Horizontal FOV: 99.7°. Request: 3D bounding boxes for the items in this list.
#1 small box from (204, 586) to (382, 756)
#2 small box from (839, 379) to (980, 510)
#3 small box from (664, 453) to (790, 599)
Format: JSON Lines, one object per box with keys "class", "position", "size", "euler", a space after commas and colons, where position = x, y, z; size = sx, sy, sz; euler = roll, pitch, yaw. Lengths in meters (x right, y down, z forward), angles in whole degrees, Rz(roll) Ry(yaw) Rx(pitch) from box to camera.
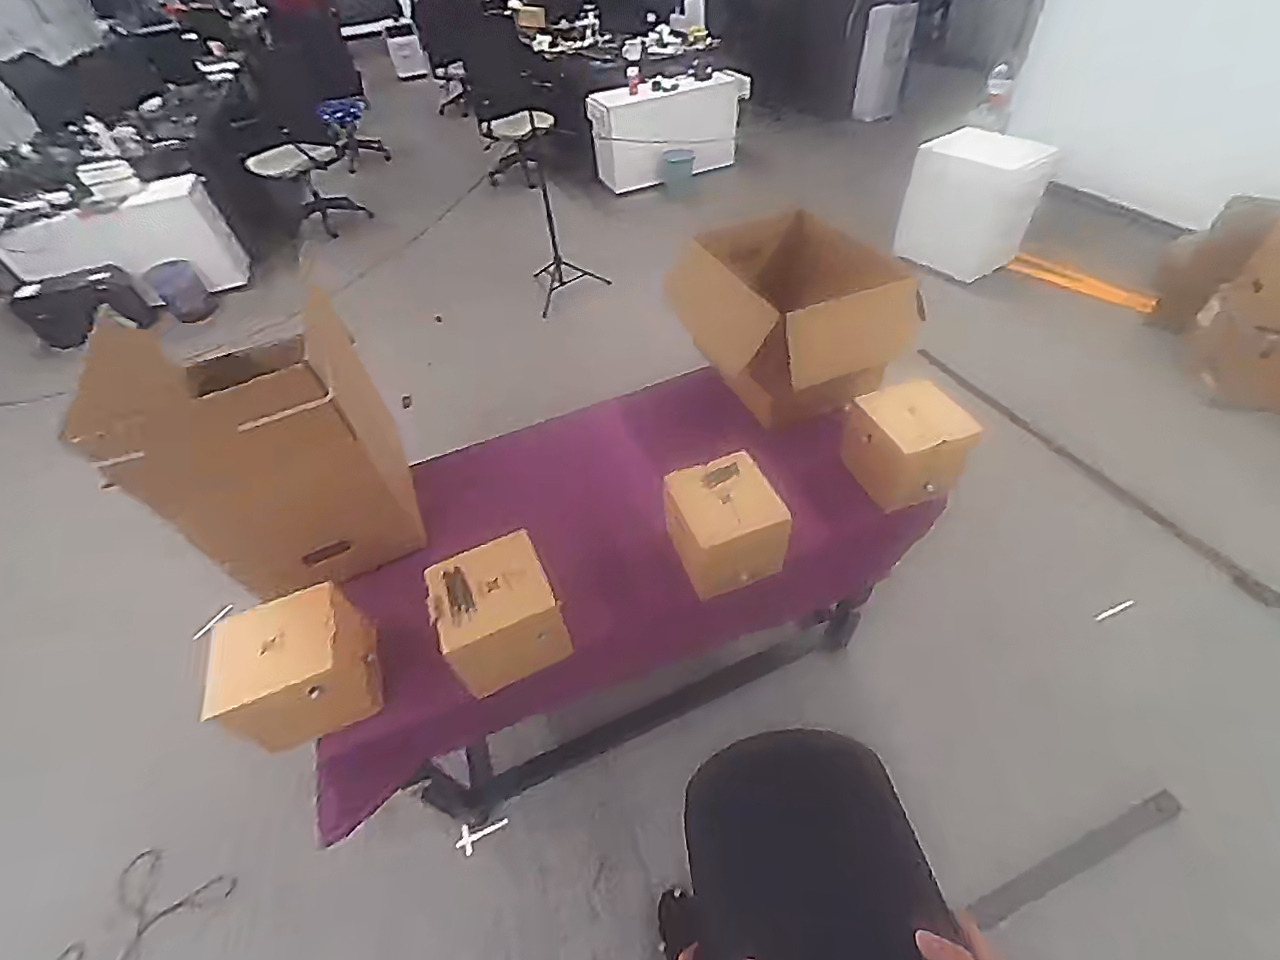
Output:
{"class": "small box", "position": [-0.540, 0.308, 0.863], "size": [0.179, 0.176, 0.168], "euler": [-21, 49, -14]}
{"class": "small box", "position": [0.525, -0.070, 1.084], "size": [0.168, 0.176, 0.179], "euler": [-17, 48, -7]}
{"class": "small box", "position": [0.151, 0.084, 0.989], "size": [0.168, 0.176, 0.179], "euler": [-18, 49, -9]}
